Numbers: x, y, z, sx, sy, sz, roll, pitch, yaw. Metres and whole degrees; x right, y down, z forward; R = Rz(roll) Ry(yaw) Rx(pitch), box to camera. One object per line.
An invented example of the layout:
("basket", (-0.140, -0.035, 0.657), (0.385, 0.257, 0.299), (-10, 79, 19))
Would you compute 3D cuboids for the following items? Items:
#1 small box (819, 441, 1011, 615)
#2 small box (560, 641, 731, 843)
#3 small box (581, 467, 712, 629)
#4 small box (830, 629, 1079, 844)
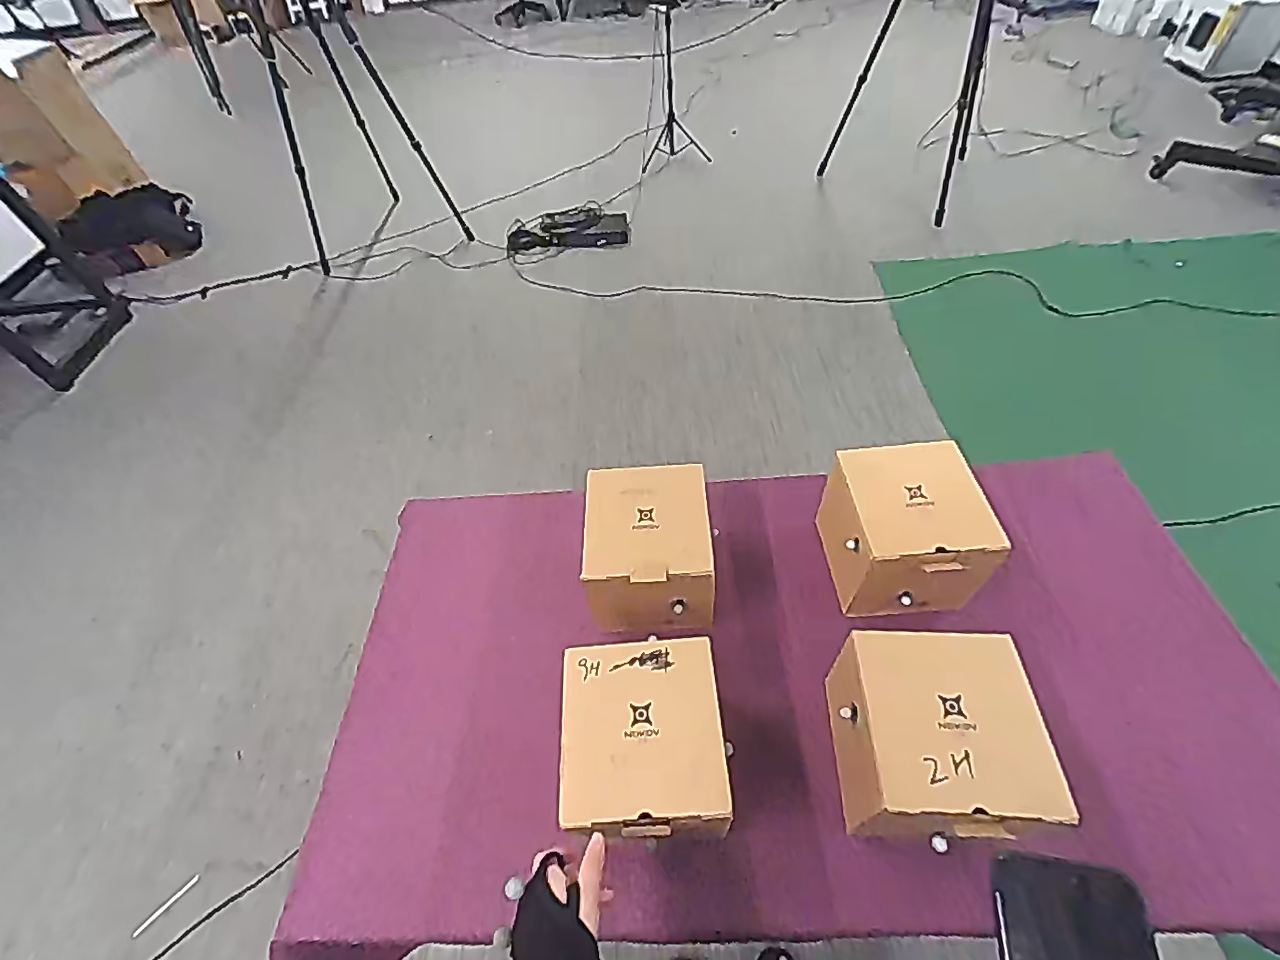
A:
("small box", (0.363, 0.070, 0.759), (0.168, 0.176, 0.179), (-6, 52, 2))
("small box", (0.009, 0.303, 0.614), (0.168, 0.176, 0.179), (-6, 52, 2))
("small box", (0.015, 0.104, 0.774), (0.168, 0.176, 0.179), (-3, 51, 3))
("small box", (0.316, 0.281, 0.594), (0.168, 0.176, 0.179), (-1, 51, 7))
